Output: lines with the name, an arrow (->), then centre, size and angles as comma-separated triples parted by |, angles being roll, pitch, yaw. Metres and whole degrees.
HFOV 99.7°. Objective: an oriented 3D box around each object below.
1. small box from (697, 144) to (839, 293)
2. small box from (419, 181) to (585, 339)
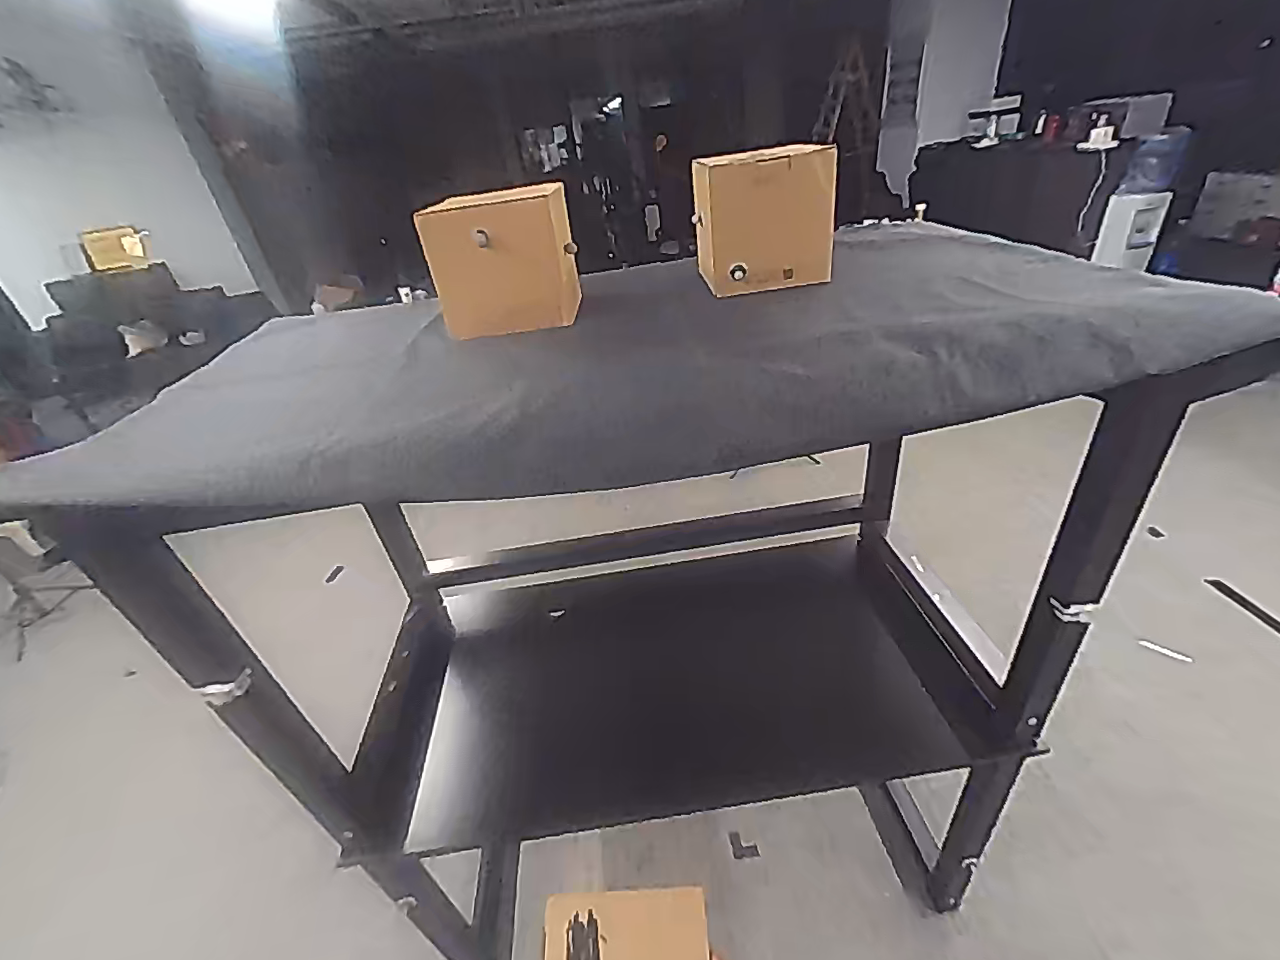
small box -> 0.180, -0.382, 0.794 | 0.168, 0.176, 0.179 | -7, 32, 2
small box -> -0.181, -0.316, 0.777 | 0.179, 0.176, 0.168 | -6, 33, 4
